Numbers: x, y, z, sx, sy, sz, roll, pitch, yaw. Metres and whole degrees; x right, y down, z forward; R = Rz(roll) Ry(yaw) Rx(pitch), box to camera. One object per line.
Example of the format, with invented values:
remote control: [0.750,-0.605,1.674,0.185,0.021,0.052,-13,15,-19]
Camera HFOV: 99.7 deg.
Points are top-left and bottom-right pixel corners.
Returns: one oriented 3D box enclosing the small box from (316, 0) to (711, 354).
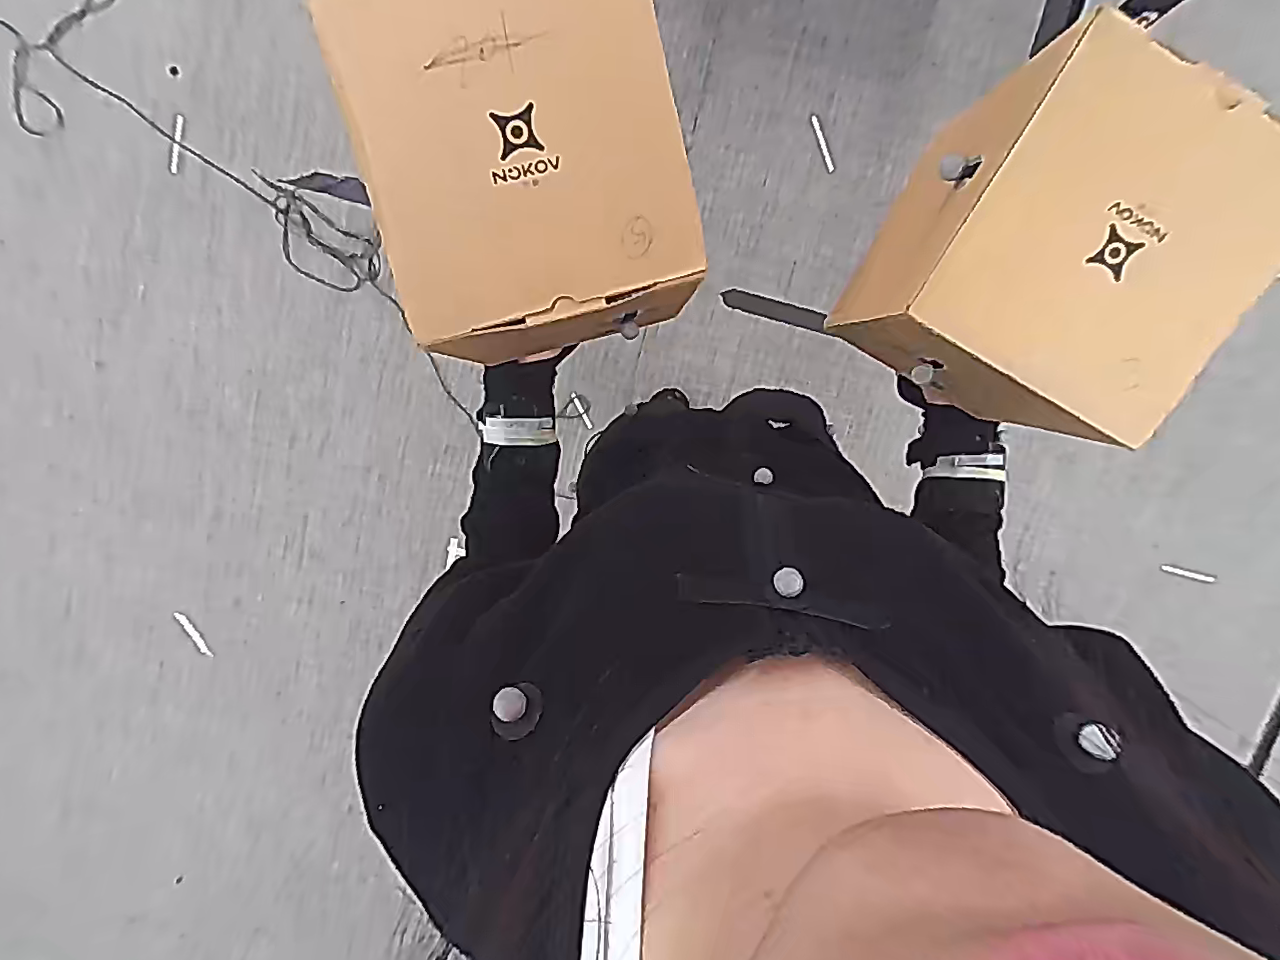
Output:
small box: [-0.063,-0.187,0.356,0.168,0.176,0.179,-16,99,-1]

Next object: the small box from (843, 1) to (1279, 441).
small box: [0.268,-0.150,0.376,0.168,0.176,0.179,29,101,-4]
